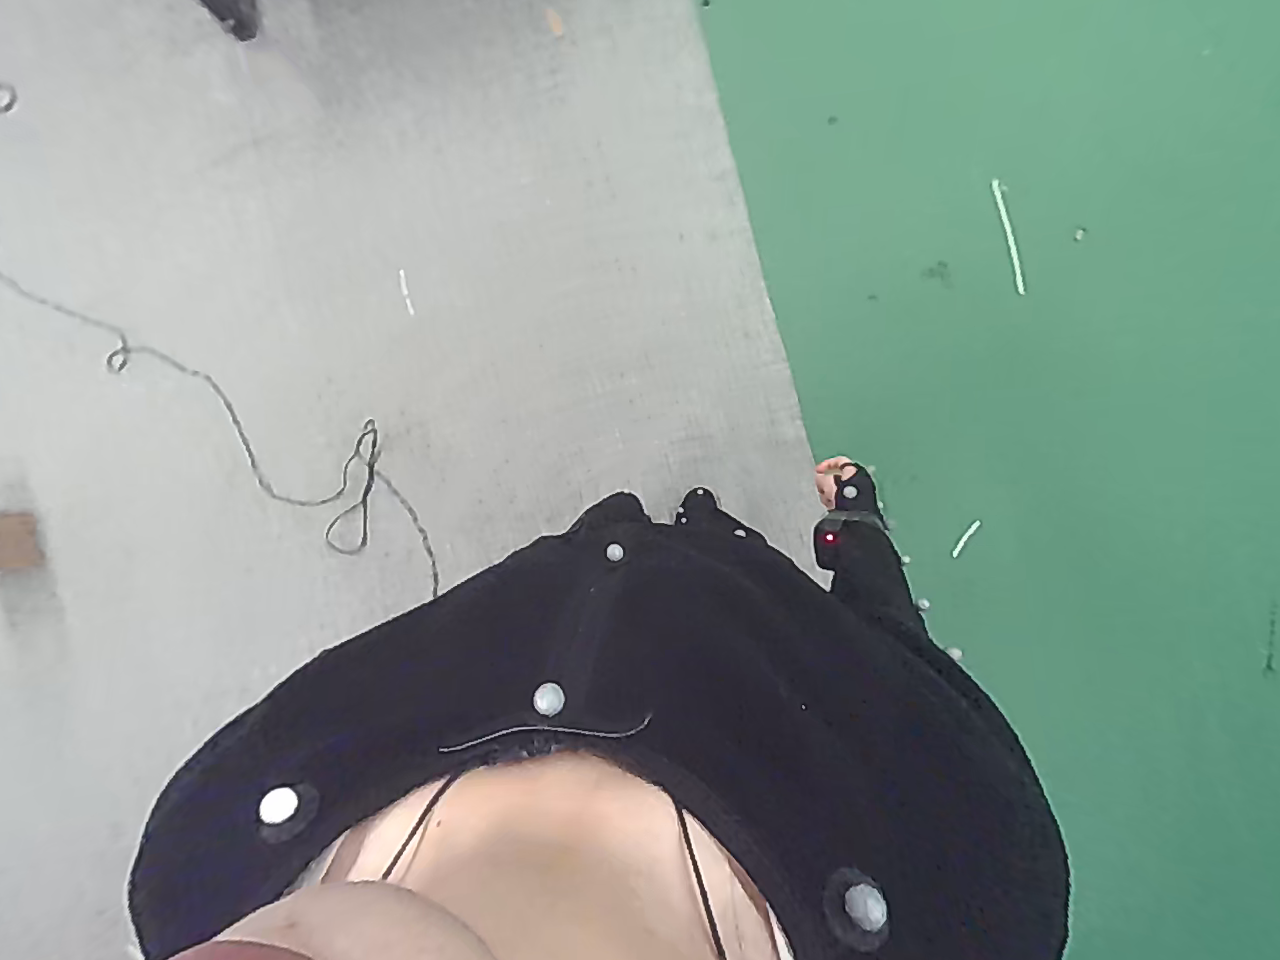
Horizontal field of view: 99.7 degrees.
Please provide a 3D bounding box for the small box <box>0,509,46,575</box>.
[{"bbox_3d":[-1.892,0.188,1.563,0.168,0.176,0.179,-15,89,3],"label":"small box"}]
